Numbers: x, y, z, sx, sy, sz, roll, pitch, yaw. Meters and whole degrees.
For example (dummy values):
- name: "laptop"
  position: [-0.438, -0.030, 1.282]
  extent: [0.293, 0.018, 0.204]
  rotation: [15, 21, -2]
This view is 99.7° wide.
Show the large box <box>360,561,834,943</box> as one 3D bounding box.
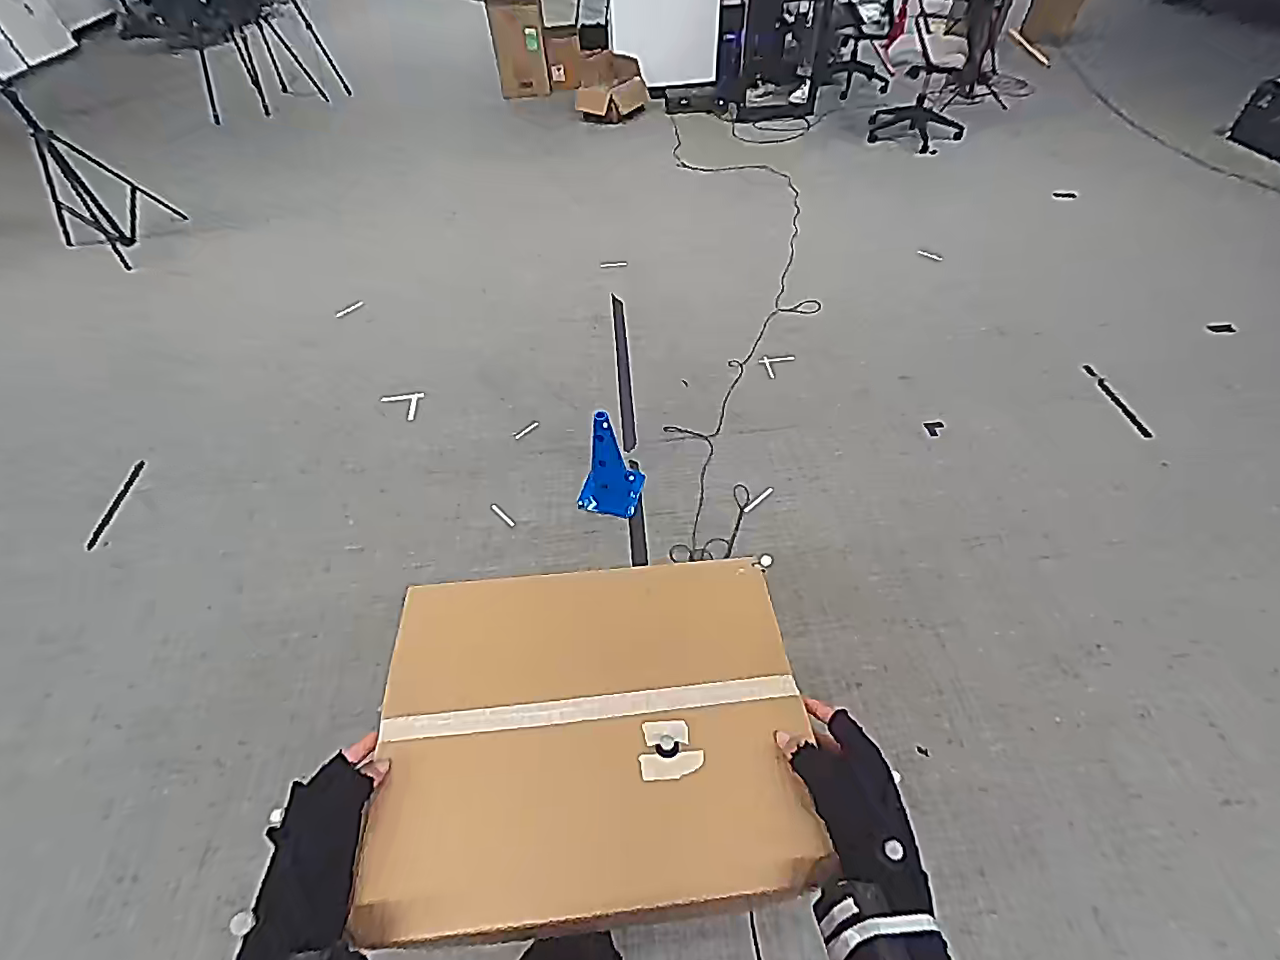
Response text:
- name: "large box"
  position: [-0.047, 0.327, 0.653]
  extent: [0.408, 0.320, 0.320]
  rotation: [-4, 49, -4]

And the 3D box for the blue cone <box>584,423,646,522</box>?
- name: "blue cone"
  position: [-0.095, -0.048, 1.746]
  extent: [0.193, 0.380, 0.192]
  rotation: [11, 52, 13]
